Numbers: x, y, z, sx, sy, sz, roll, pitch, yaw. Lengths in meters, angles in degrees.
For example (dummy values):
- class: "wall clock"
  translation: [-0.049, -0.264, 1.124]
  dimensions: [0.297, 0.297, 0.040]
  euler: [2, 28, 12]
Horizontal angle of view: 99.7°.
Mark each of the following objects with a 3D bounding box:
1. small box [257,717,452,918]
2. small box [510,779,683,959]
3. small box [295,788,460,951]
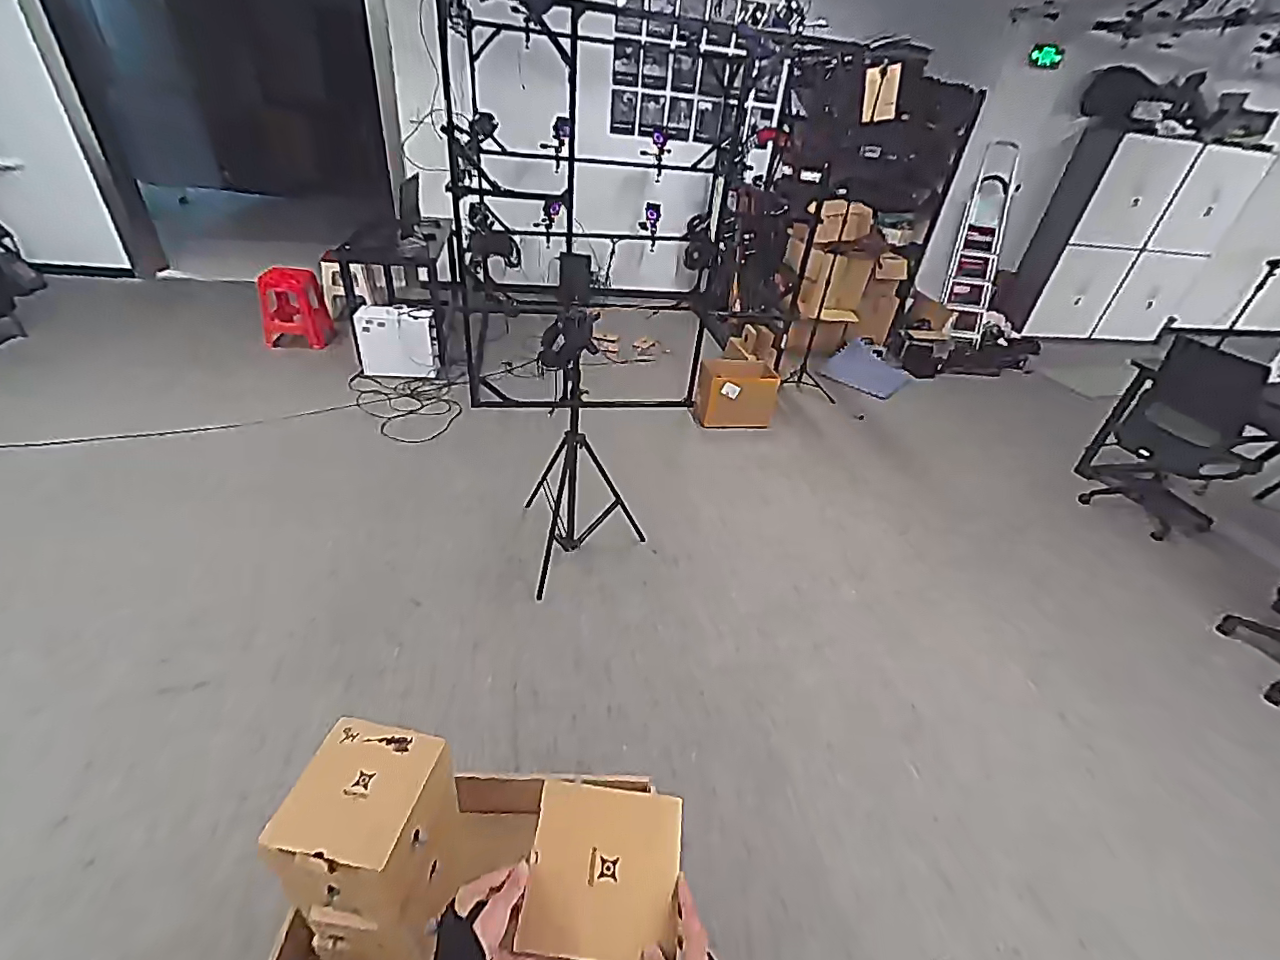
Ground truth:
- class: "small box"
  translation: [-0.380, 0.475, 0.763]
  dimensions: [0.168, 0.176, 0.179]
  euler: [11, 34, 5]
- class: "small box"
  translation: [-0.049, 0.496, 0.672]
  dimensions: [0.179, 0.176, 0.168]
  euler: [8, 46, 1]
- class: "small box"
  translation: [-0.397, 0.607, 0.859]
  dimensions: [0.168, 0.176, 0.179]
  euler: [8, 33, 2]
